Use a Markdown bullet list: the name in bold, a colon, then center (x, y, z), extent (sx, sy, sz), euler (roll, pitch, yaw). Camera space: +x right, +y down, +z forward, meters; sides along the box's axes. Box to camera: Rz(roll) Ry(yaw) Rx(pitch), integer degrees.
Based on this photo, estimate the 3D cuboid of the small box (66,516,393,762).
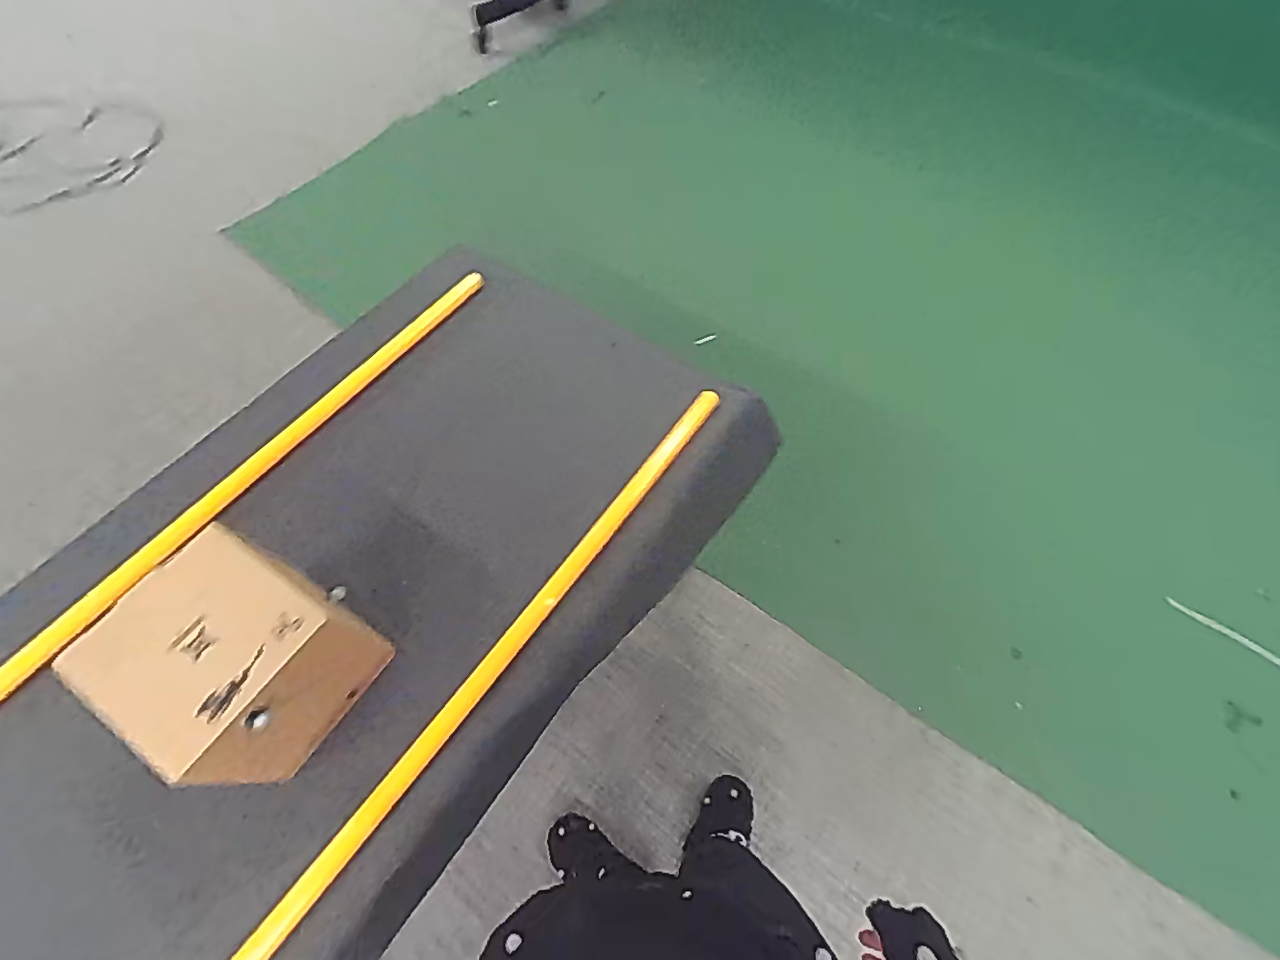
- **small box**: center (-0.406, 0.173, 0.570), extent (0.179, 0.176, 0.168), euler (30, 67, 15)
